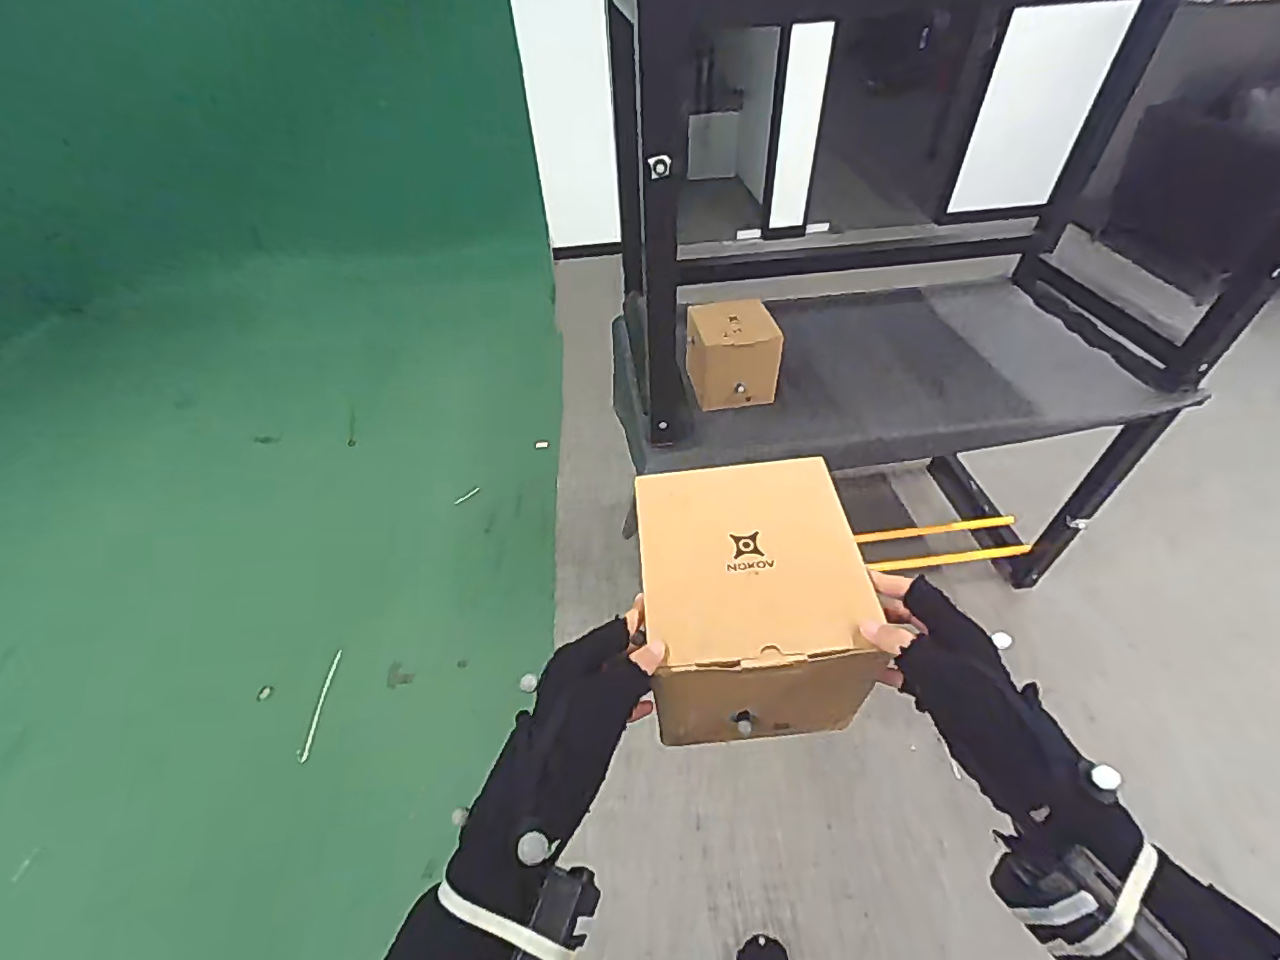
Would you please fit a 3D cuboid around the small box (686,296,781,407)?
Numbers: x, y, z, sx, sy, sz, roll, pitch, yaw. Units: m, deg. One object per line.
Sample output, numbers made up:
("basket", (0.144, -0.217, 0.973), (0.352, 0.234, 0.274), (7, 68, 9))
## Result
("small box", (0.198, -0.286, 1.204), (0.168, 0.176, 0.179), (-8, 45, -3))
